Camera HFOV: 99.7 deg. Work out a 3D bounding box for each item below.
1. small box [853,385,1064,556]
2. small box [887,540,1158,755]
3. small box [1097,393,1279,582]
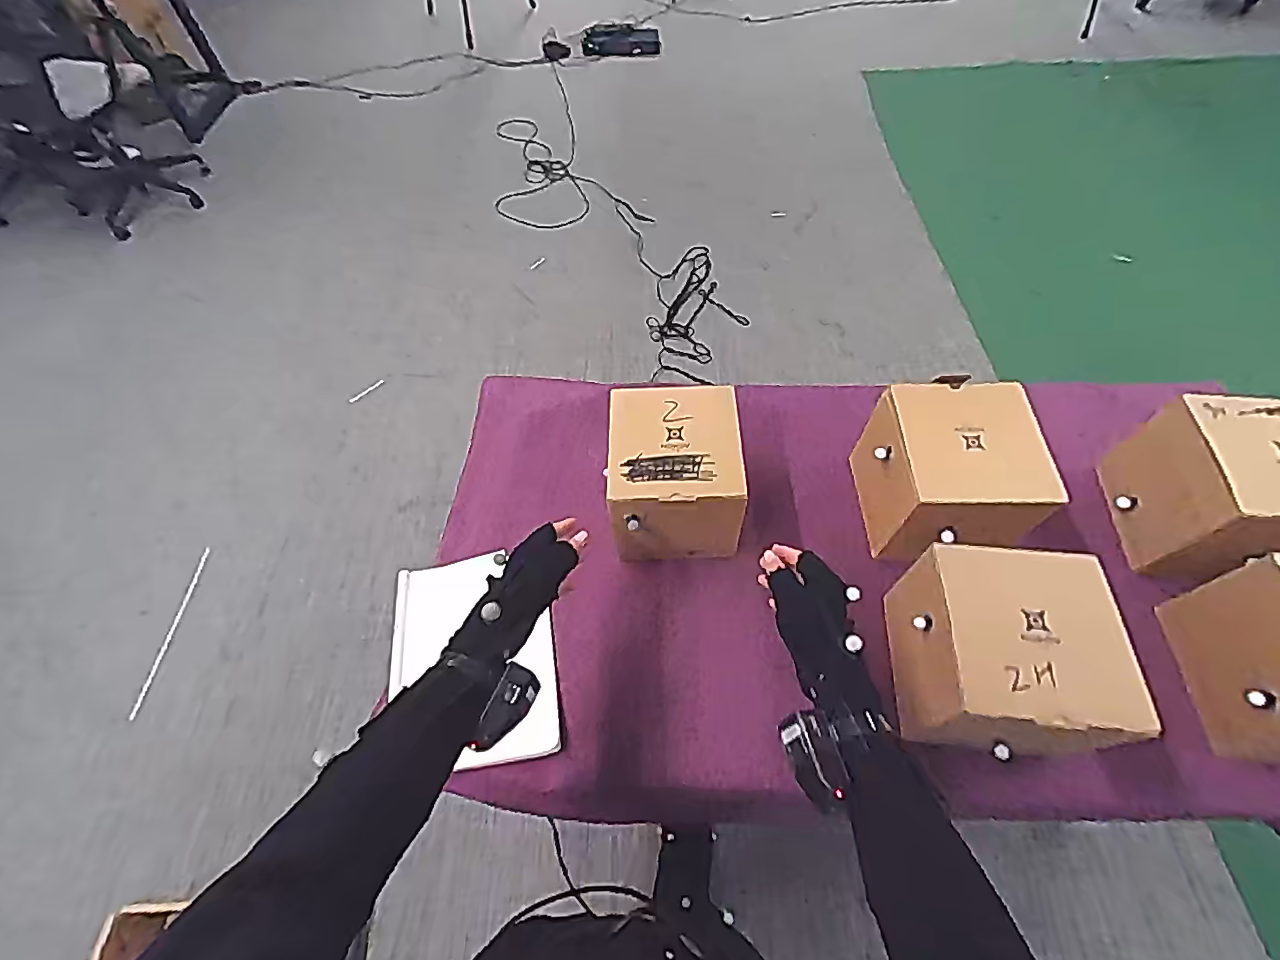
[{"bbox_3d":[0.400,-0.004,0.718,0.168,0.176,0.179,-1,57,3],"label":"small box"},{"bbox_3d":[0.388,0.186,0.593,0.168,0.176,0.179,4,57,6],"label":"small box"},{"bbox_3d":[0.738,0.015,0.683,0.168,0.176,0.179,6,59,7],"label":"small box"}]
